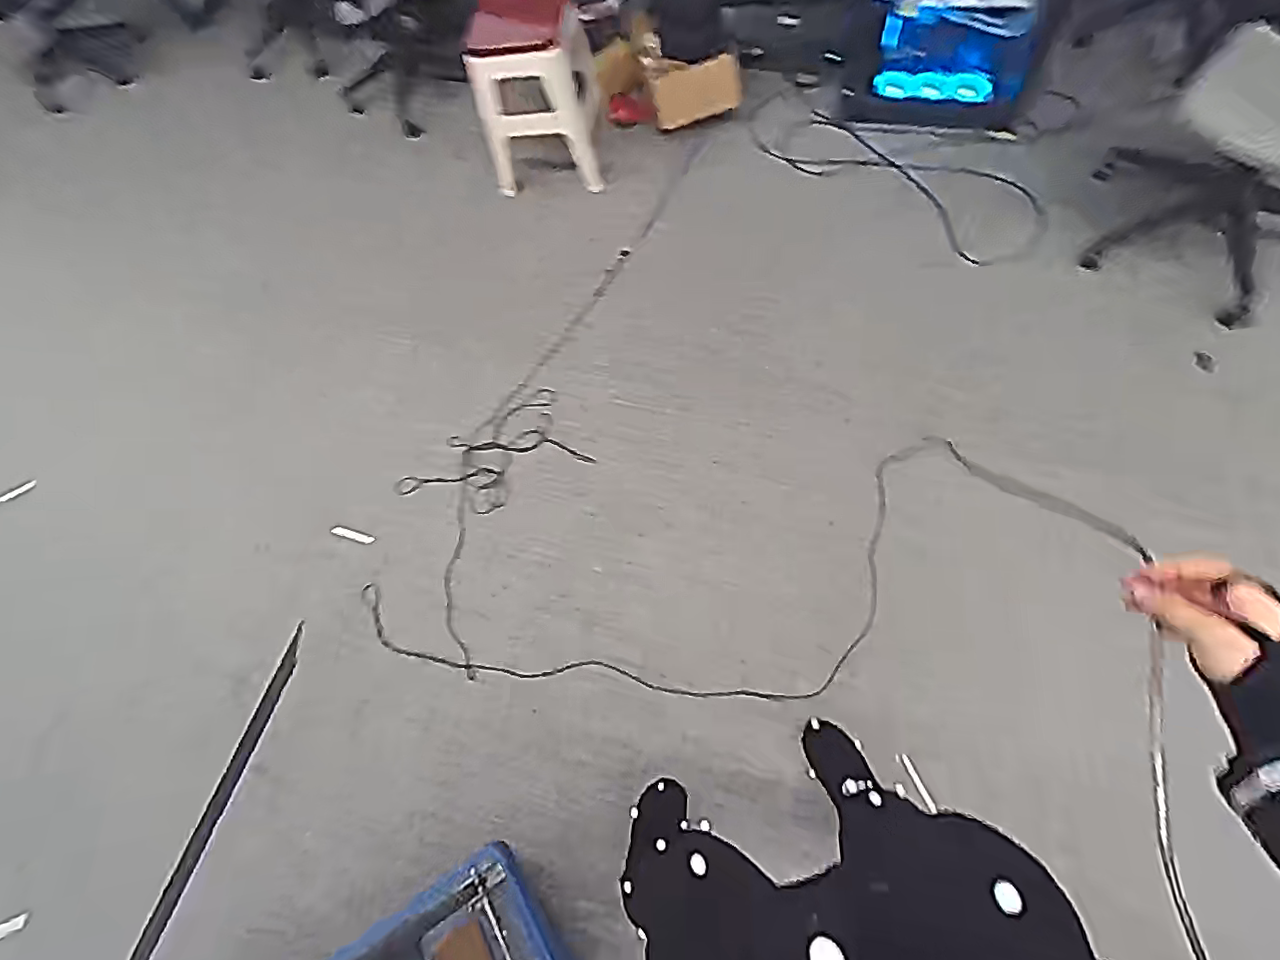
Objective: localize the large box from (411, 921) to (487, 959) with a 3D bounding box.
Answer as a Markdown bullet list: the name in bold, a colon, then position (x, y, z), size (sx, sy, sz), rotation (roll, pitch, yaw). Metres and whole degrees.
- **large box**: position (-0.369, 1.027, 0.827), size (0.320, 0.320, 0.408), rotation (-33, 66, -6)
